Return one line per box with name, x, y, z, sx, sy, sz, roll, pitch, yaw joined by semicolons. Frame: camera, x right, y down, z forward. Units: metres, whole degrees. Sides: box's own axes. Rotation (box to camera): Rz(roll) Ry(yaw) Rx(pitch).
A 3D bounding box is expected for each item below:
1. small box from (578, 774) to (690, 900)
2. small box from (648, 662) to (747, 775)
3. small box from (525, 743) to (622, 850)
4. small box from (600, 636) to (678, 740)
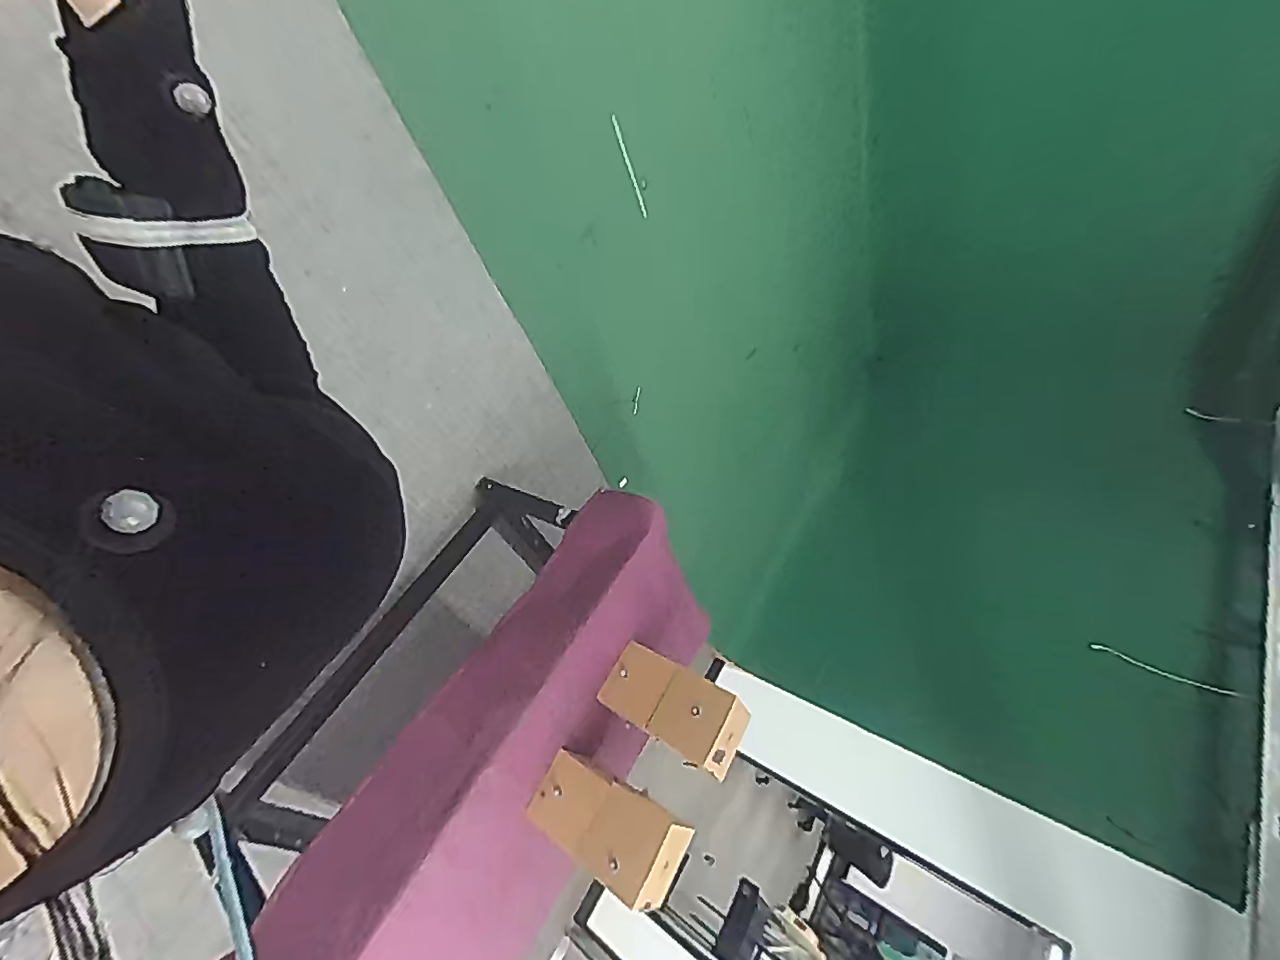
small box;-0.019;0.813;1.235;0.179;0.176;0.168;-58;142;-20
small box;0.140;0.592;1.349;0.179;0.176;0.168;-56;140;-23
small box;-0.145;0.778;1.333;0.168;0.176;0.179;-59;141;-19
small box;0.014;0.552;1.447;0.179;0.176;0.168;-55;140;-22
